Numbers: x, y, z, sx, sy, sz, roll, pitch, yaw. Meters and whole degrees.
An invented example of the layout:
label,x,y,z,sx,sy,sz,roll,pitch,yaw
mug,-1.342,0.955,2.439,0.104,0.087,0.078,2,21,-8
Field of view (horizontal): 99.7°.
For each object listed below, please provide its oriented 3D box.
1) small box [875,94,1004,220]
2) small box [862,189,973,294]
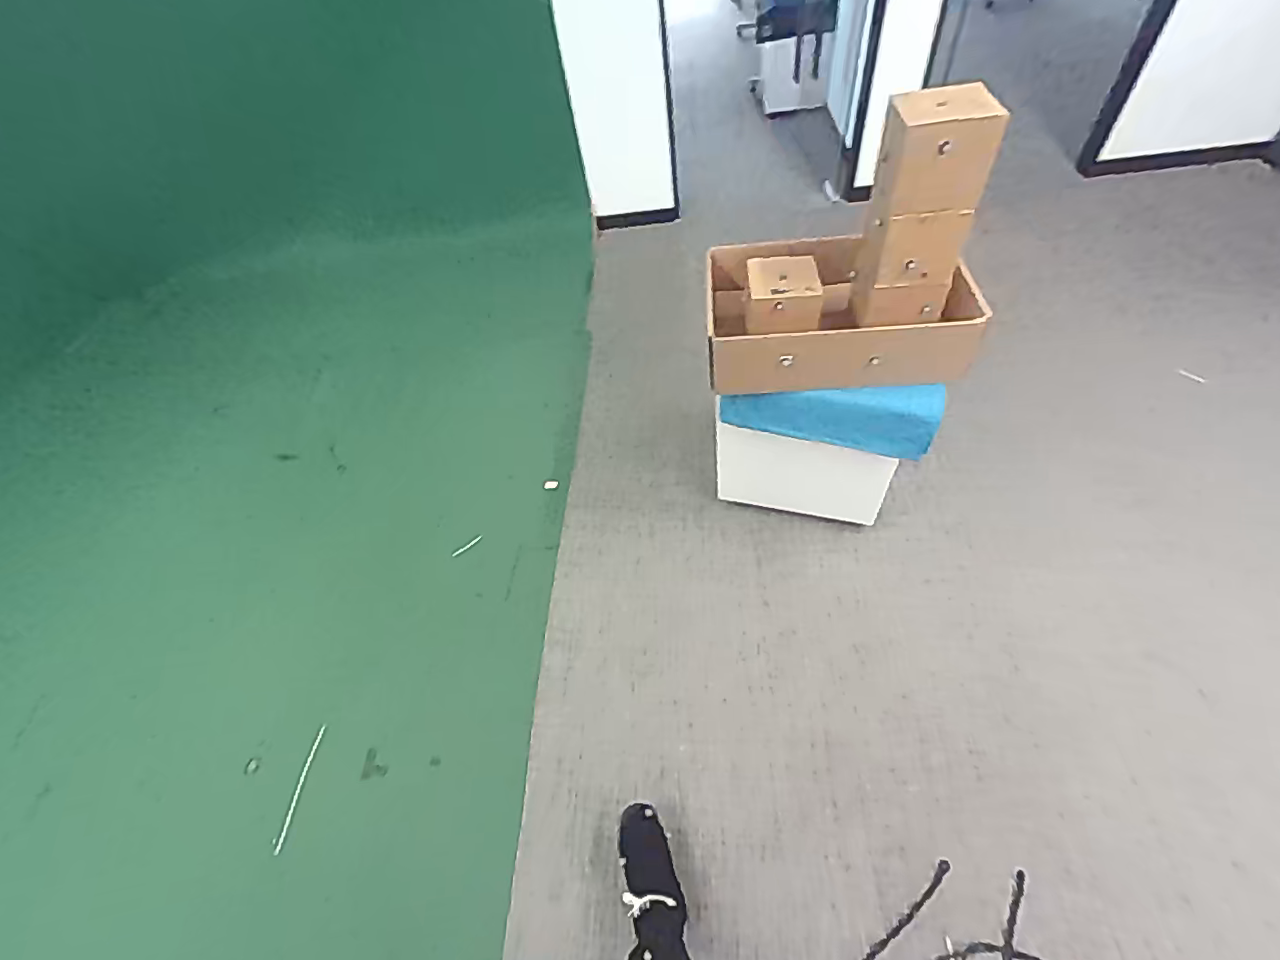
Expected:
label,x,y,z,sx,sy,sz,roll,pitch,yaw
small box,0.588,-0.646,1.093,0.179,0.176,0.168,-1,52,9
small box,0.611,-0.542,1.220,0.168,0.176,0.179,-2,51,9
